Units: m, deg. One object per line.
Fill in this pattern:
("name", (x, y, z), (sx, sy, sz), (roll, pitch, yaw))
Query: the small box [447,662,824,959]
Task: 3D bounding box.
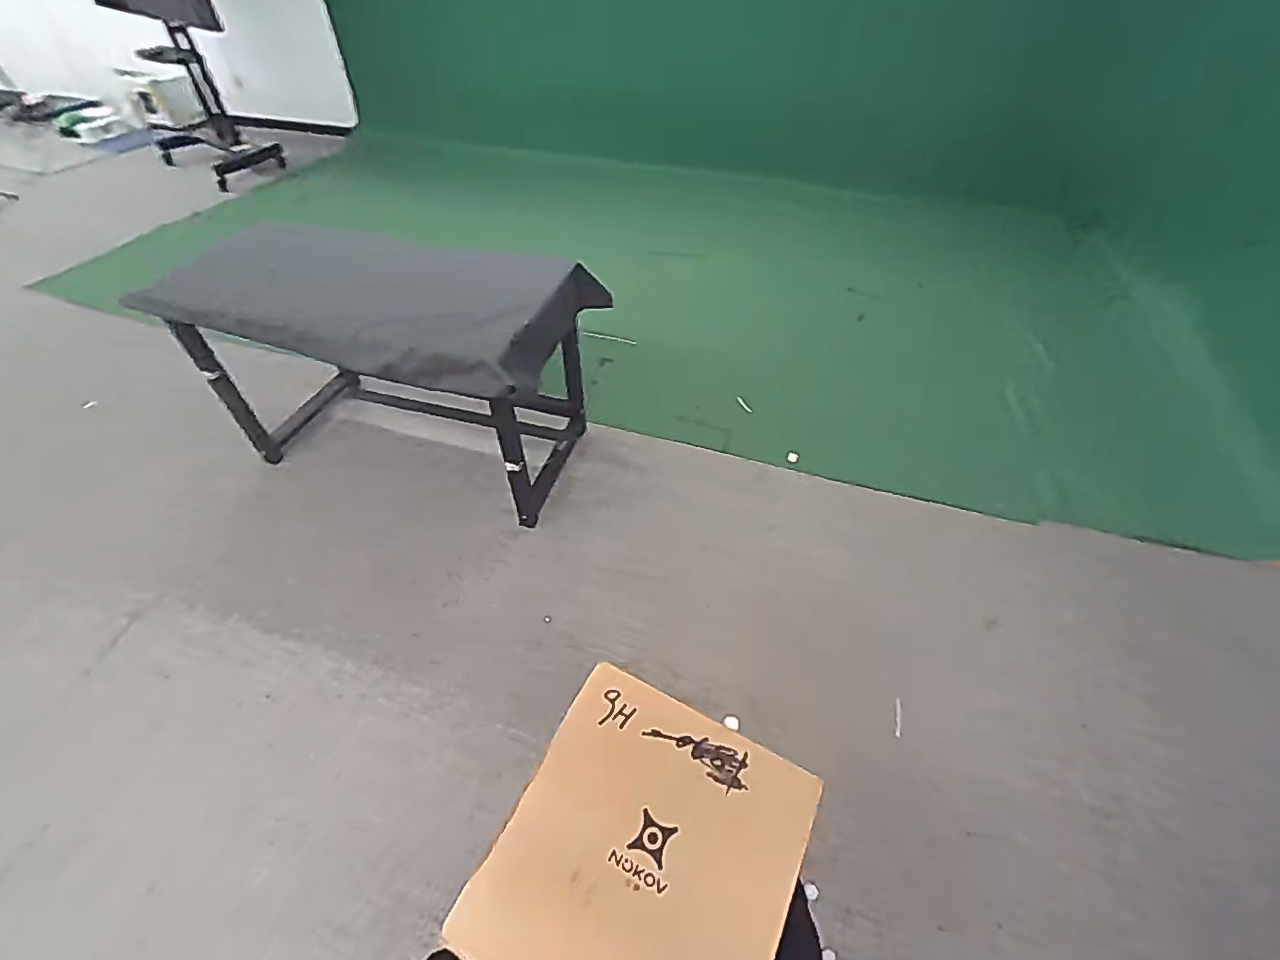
("small box", (0.006, 0.267, 0.377), (0.168, 0.176, 0.179), (23, 55, 17))
